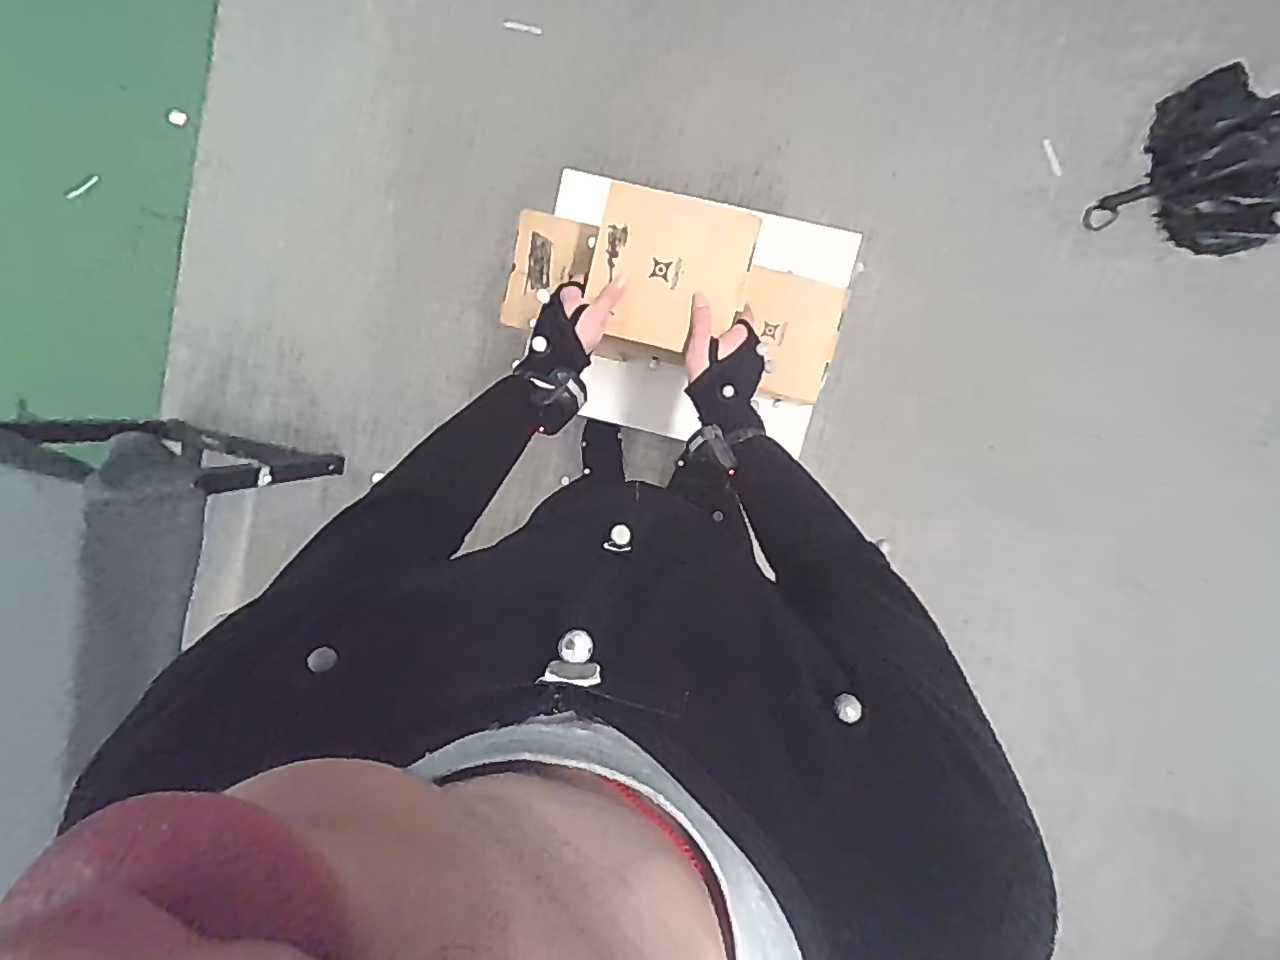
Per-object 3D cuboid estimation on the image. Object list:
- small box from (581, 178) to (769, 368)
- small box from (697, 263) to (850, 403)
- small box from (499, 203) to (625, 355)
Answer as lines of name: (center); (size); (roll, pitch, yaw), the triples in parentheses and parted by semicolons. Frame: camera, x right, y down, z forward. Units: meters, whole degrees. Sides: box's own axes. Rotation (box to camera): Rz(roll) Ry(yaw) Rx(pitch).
small box: (0.040, -0.241, 0.677); (0.179, 0.176, 0.168); (15, 98, 1)
small box: (0.192, -0.219, 0.833); (0.179, 0.176, 0.168); (15, 97, 4)
small box: (-0.097, -0.298, 0.840); (0.179, 0.176, 0.168); (14, 98, 0)
